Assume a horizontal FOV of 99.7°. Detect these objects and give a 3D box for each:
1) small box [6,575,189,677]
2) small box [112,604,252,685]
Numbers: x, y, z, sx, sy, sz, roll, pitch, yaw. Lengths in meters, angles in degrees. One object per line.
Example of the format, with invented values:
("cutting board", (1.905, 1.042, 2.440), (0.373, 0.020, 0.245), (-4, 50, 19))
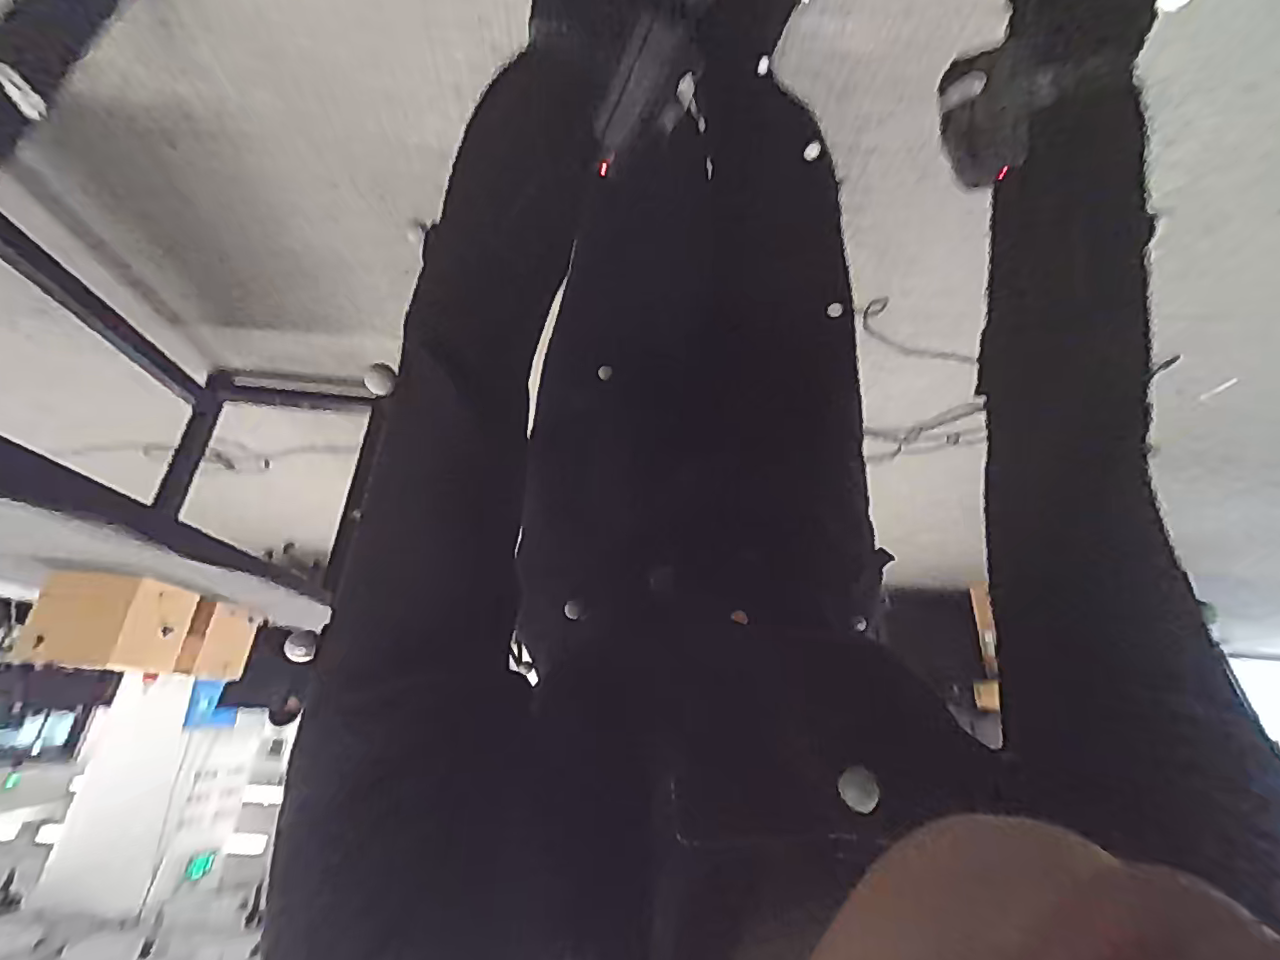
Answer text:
("small box", (-1.038, 0.288, 1.060), (0.179, 0.176, 0.168), (5, 156, -2))
("small box", (-1.060, 0.385, 1.274), (0.179, 0.176, 0.168), (4, 156, 1))
